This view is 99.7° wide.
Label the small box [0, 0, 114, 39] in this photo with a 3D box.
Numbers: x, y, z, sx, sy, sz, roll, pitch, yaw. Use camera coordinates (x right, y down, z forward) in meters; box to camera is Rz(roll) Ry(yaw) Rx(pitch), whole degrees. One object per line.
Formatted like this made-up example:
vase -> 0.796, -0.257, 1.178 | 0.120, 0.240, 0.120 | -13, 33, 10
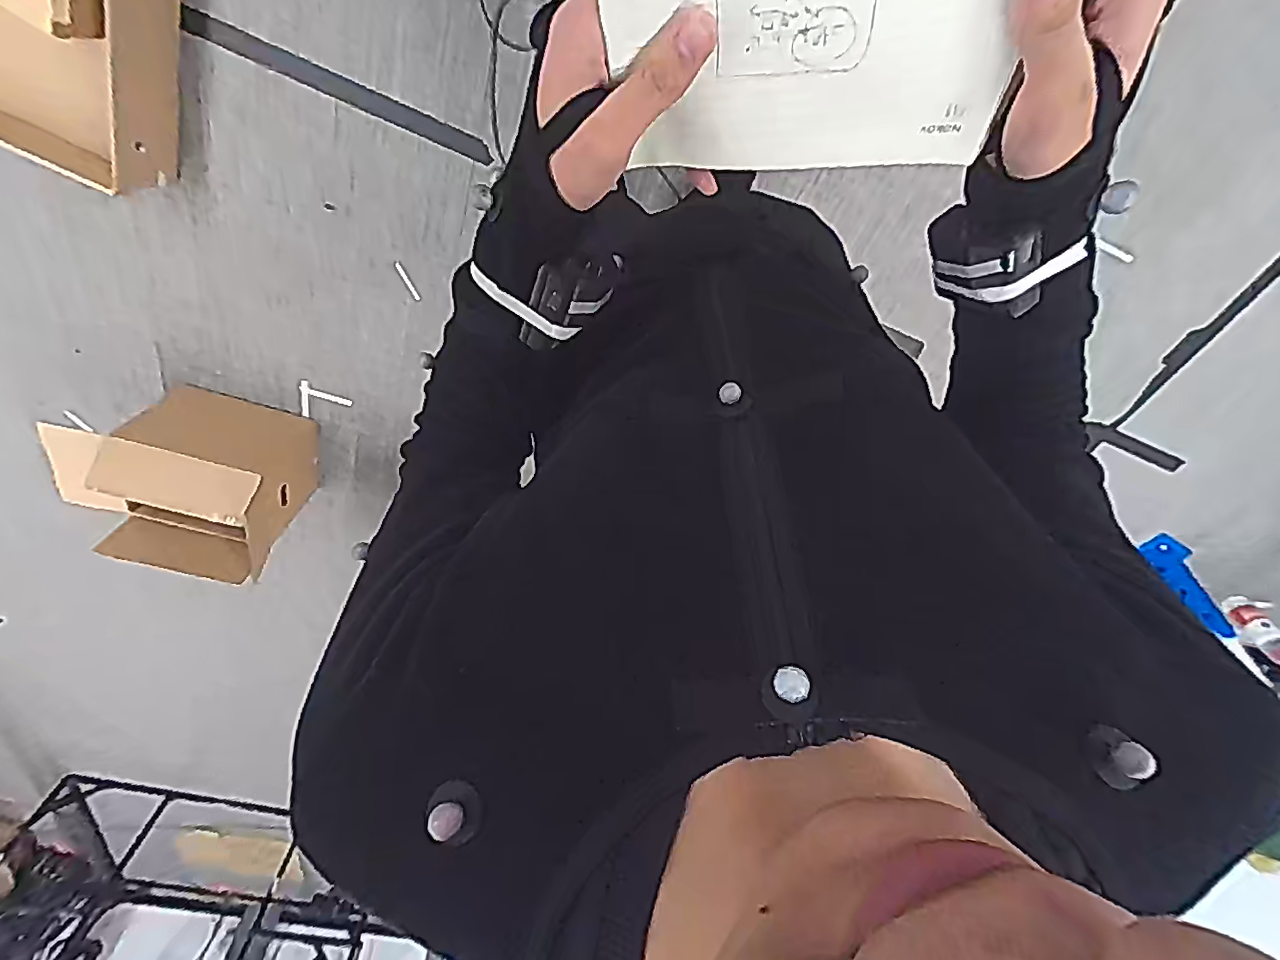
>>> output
small box -> -1.135, -0.976, 1.012 | 0.179, 0.176, 0.168 | 30, 122, -20
